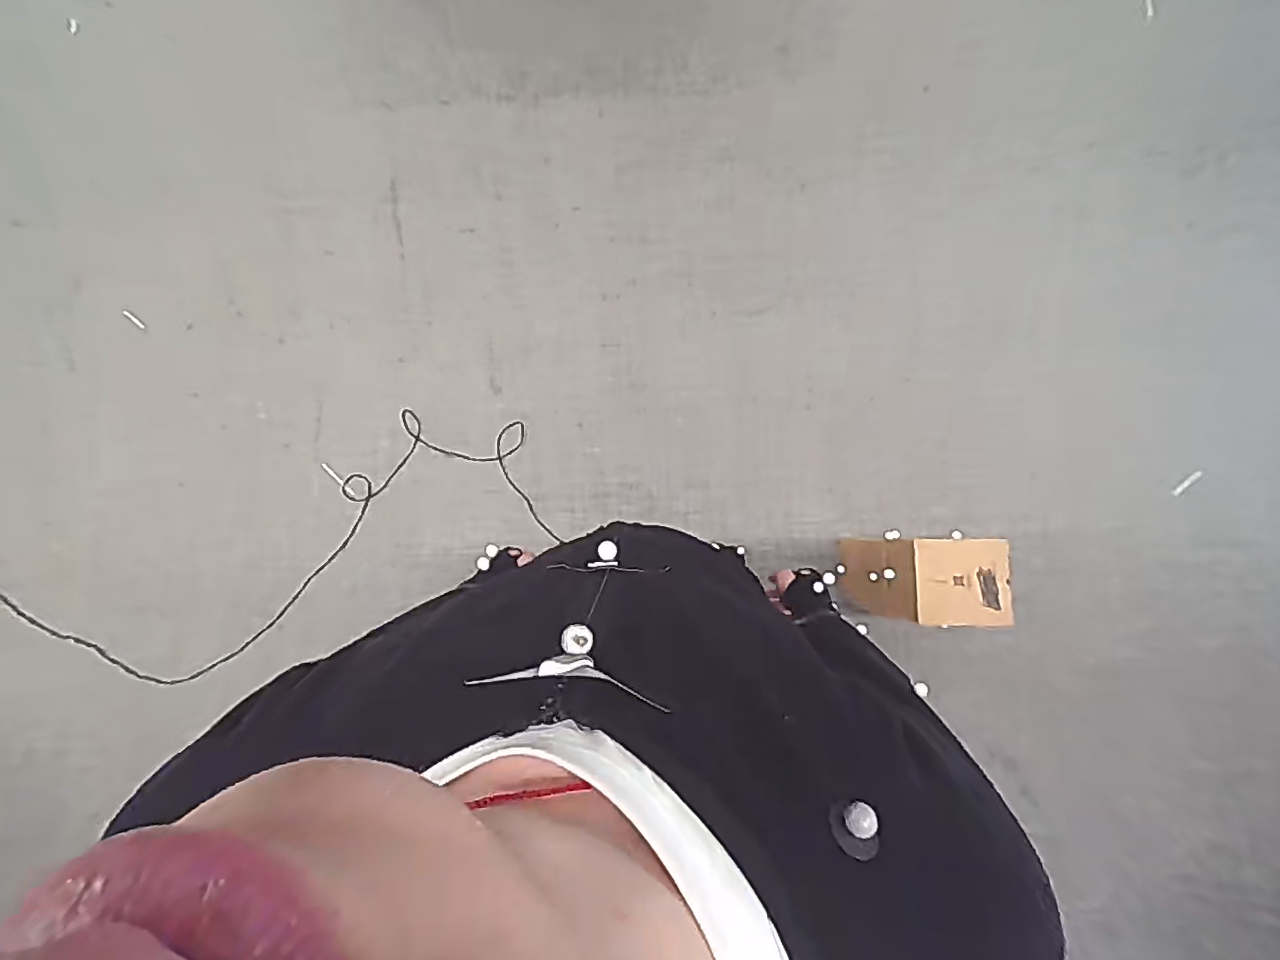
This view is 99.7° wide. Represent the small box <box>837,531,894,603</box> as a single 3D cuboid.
[{"bbox_3d":[0.635,0.229,1.446,0.168,0.176,0.179,0,86,3],"label":"small box"}]

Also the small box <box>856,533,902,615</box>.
[{"bbox_3d":[0.625,0.217,1.286,0.168,0.176,0.179,-2,88,4],"label":"small box"}]

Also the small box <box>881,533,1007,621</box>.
[{"bbox_3d":[0.620,0.194,1.121,0.179,0.176,0.168,0,85,5],"label":"small box"}]
